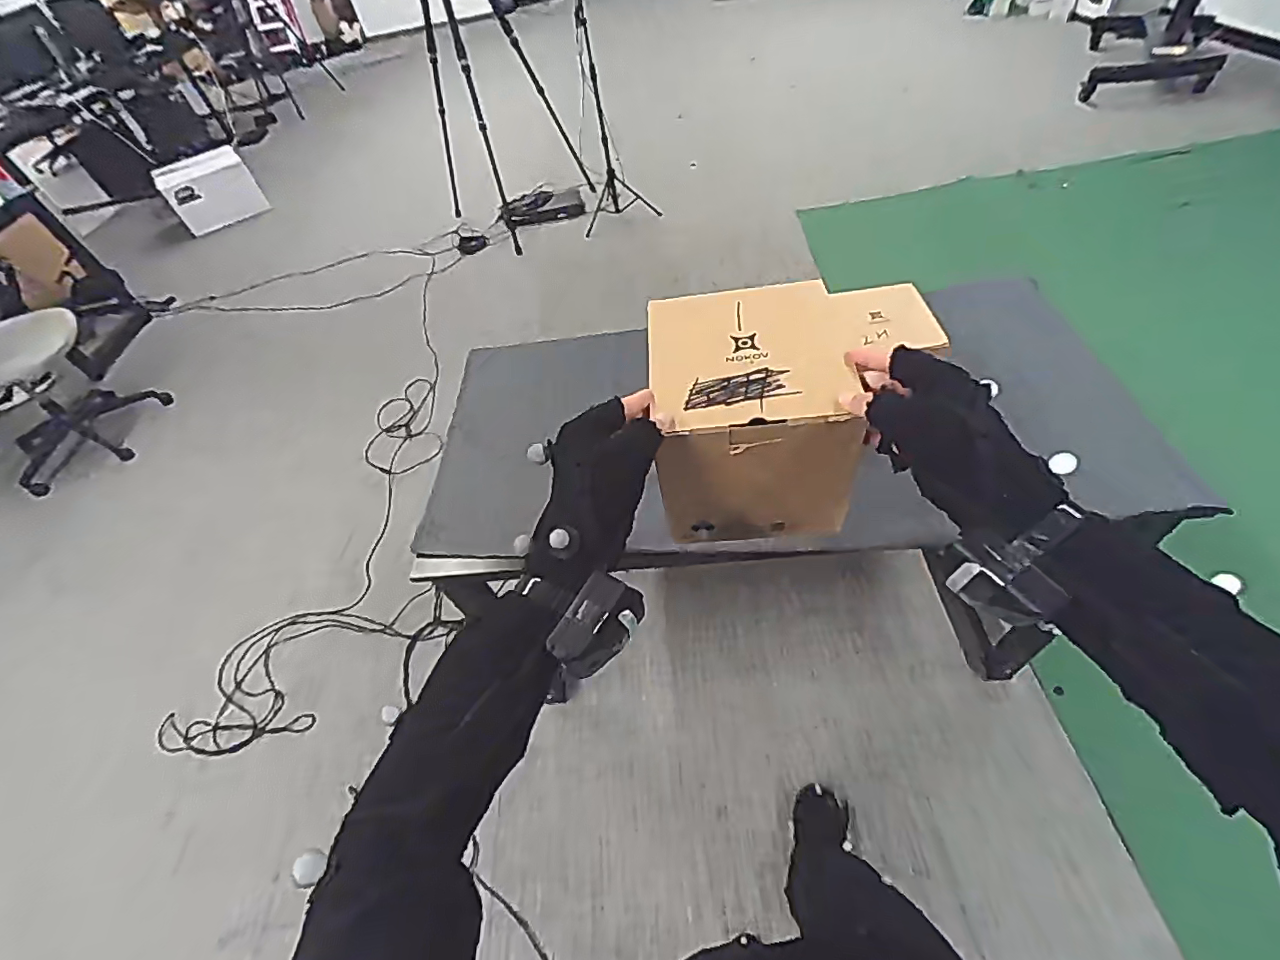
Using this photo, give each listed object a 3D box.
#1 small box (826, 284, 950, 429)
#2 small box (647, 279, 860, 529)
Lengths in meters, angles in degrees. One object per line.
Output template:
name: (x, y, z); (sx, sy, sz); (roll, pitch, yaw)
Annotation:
small box: (0.397, -0.208, 0.932); (0.168, 0.176, 0.179); (-7, 51, 7)
small box: (0.100, -0.063, 0.526); (0.168, 0.176, 0.179); (-5, 52, 7)
